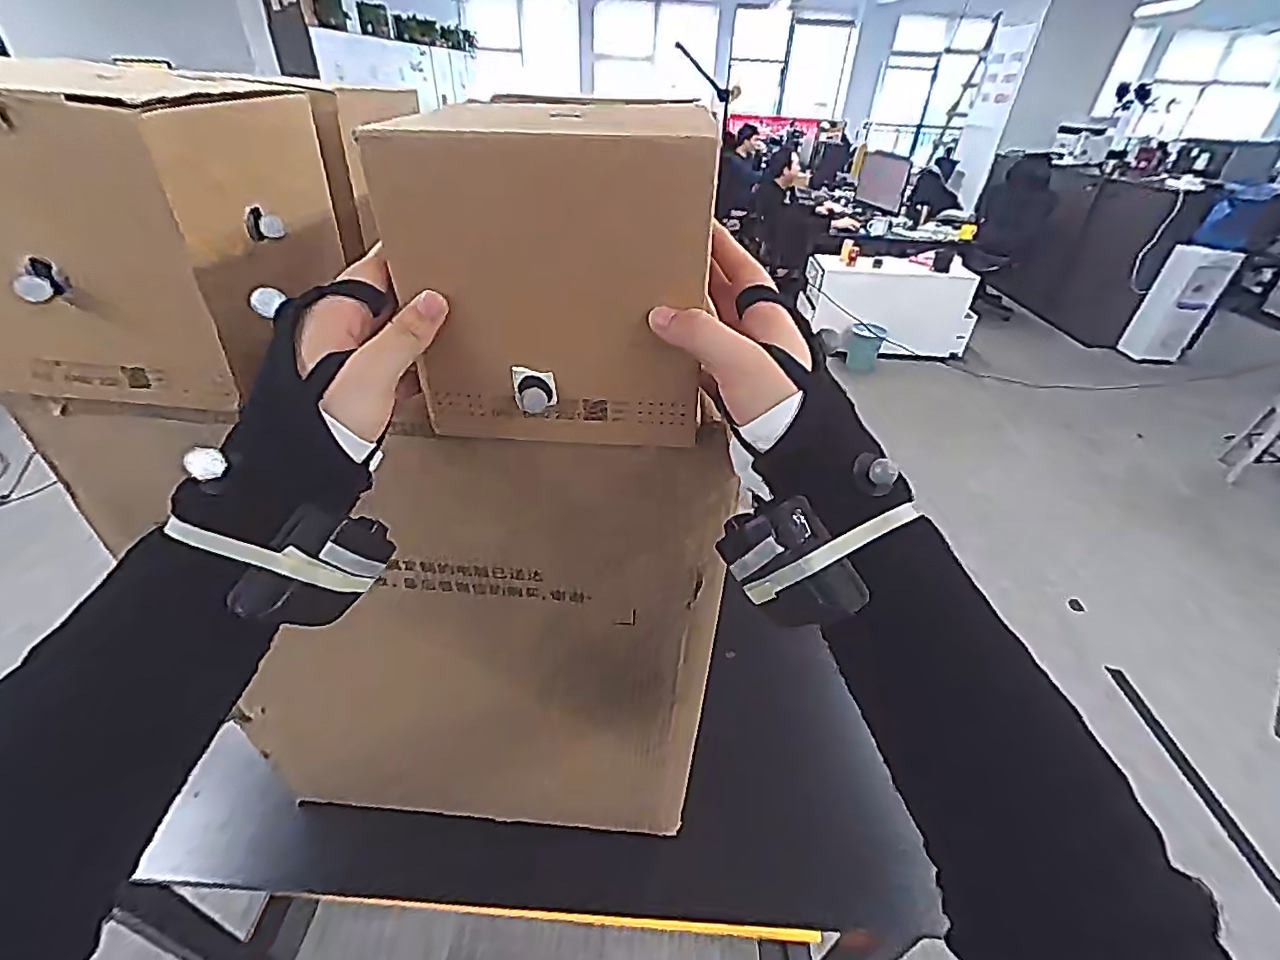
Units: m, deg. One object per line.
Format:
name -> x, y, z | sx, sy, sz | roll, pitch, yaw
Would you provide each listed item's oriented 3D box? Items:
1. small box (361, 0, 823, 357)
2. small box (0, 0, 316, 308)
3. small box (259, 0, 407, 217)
small box -> -0.018, -0.178, 0.275 | 0.168, 0.176, 0.179 | 1, 39, 2
small box -> -0.303, -0.203, 0.281 | 0.168, 0.176, 0.179 | 4, 39, -5
small box -> -0.301, -0.324, 0.446 | 0.179, 0.176, 0.168 | 6, 36, 1
